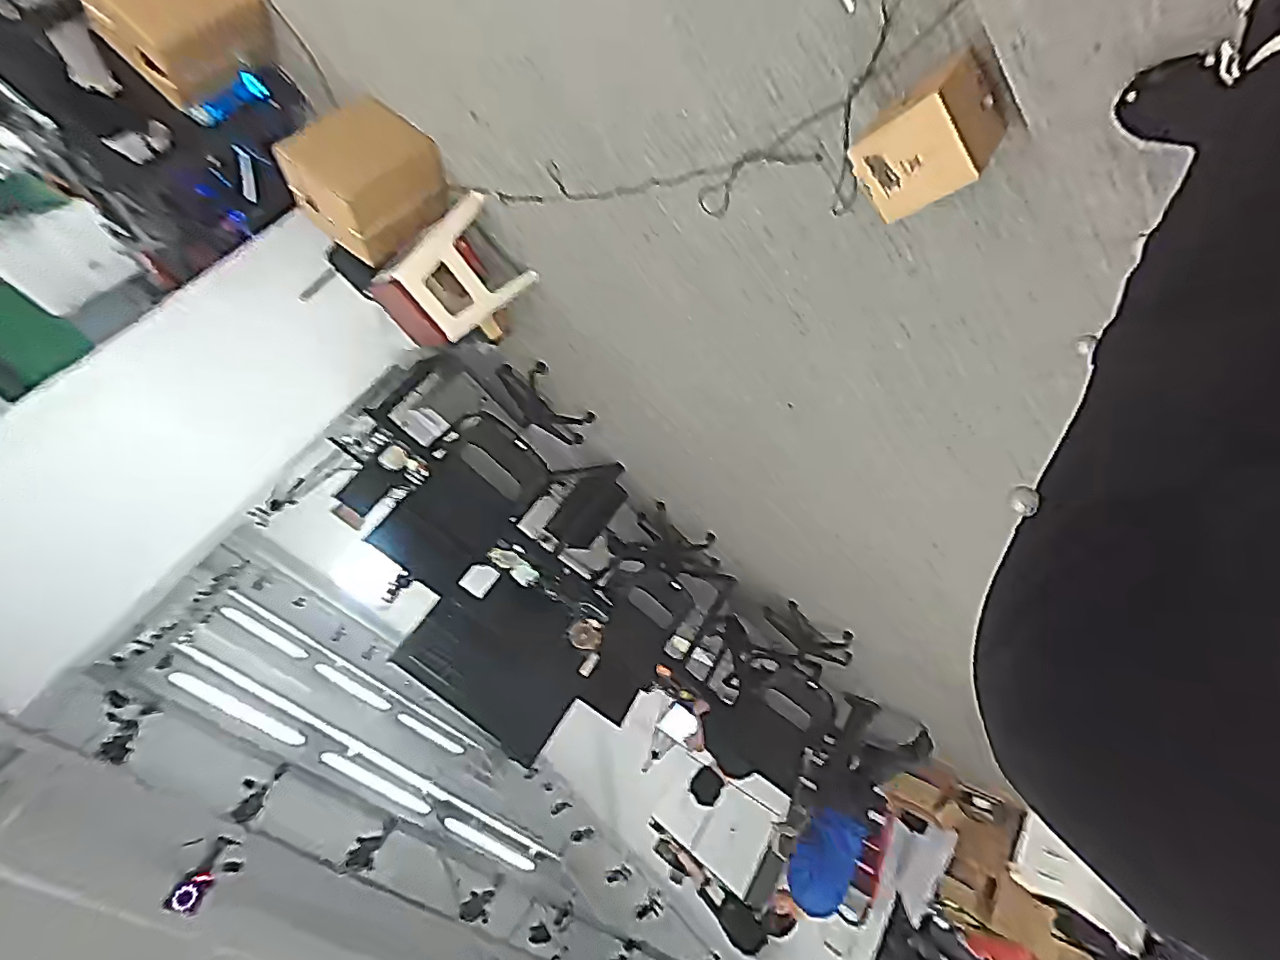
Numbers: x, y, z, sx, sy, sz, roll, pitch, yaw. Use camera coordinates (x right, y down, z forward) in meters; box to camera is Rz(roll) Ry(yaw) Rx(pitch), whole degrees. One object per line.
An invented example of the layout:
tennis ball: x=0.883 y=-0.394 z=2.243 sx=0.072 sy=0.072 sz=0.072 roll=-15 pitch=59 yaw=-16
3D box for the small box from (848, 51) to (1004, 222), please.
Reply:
small box: x=0.527 y=-0.624 z=0.996 sx=0.168 sy=0.176 sz=0.179 roll=45 pitch=156 yaw=-21
